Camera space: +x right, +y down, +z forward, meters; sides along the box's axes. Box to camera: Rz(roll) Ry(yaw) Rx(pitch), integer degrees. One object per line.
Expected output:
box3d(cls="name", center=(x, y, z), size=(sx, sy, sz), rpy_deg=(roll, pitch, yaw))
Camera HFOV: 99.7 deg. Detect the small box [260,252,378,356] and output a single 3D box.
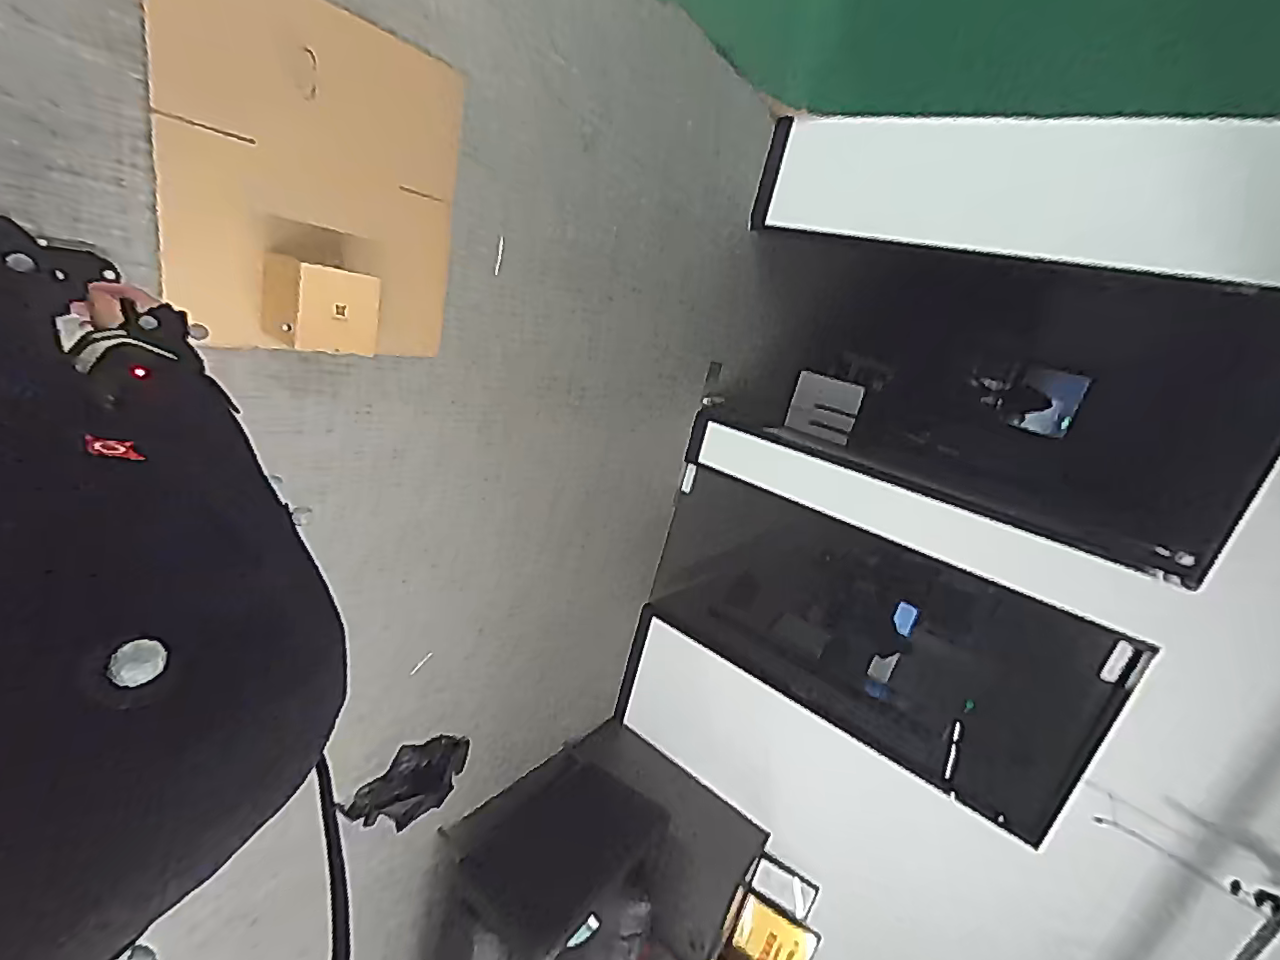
box3d(cls="small box", center=(-0.698, -0.381, 1.172), size=(0.168, 0.176, 0.179), rpy_deg=(-11, 121, -54))
